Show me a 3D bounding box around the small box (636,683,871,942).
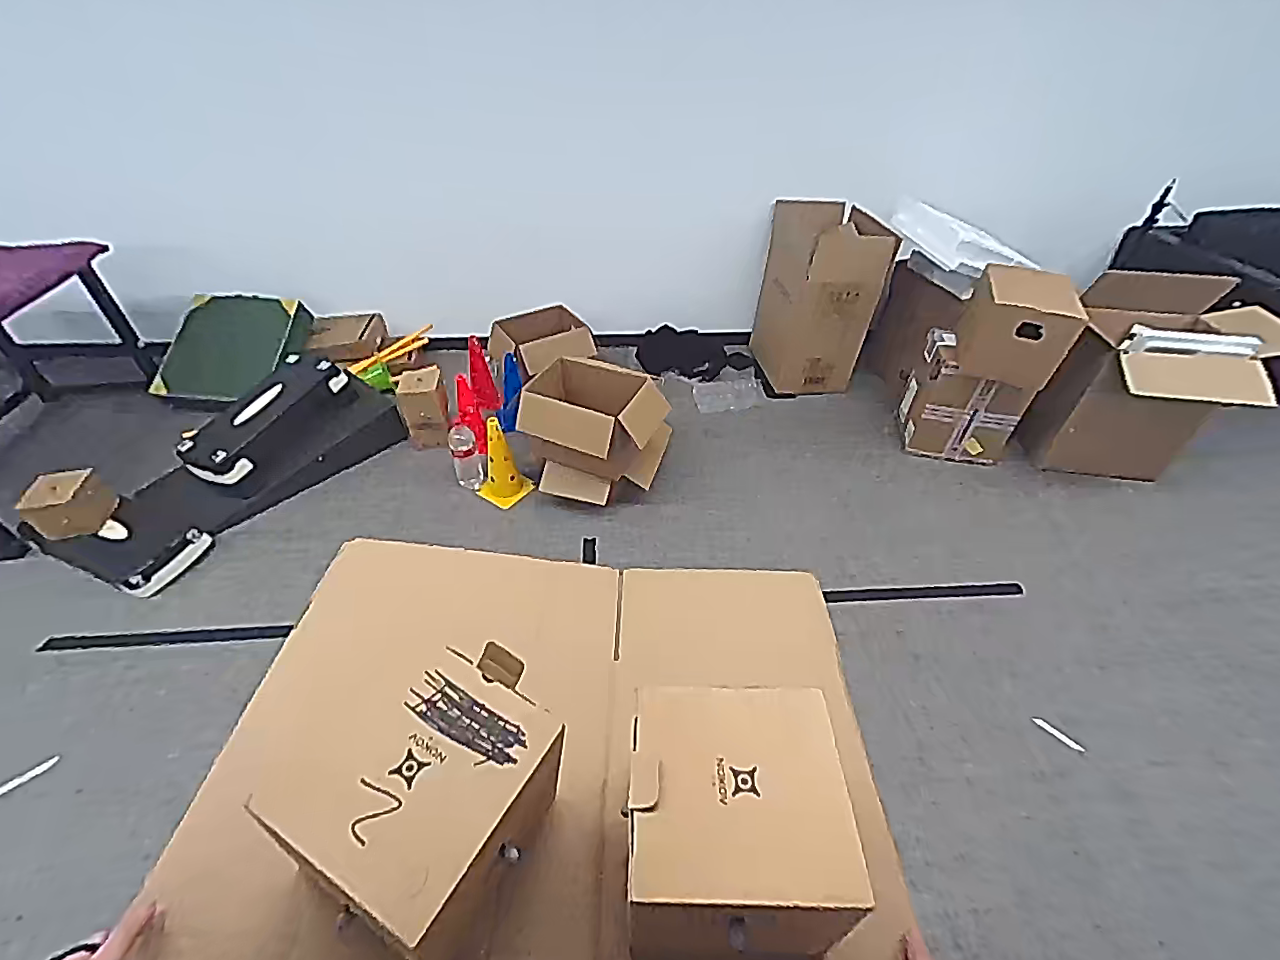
[{"bbox_3d":[0.086,0.311,0.508,0.179,0.176,0.168,0,41,1],"label":"small box"}]
